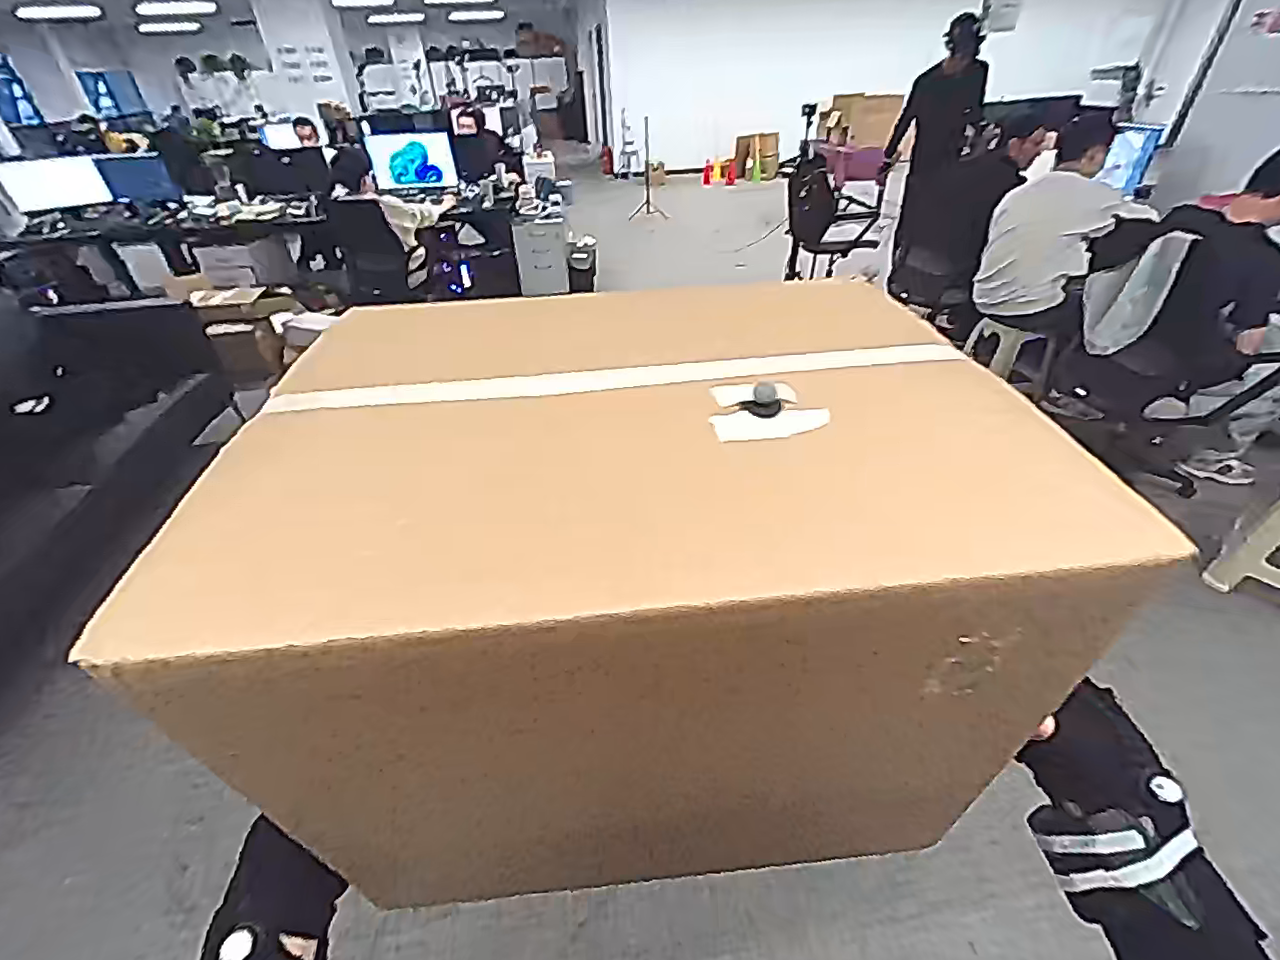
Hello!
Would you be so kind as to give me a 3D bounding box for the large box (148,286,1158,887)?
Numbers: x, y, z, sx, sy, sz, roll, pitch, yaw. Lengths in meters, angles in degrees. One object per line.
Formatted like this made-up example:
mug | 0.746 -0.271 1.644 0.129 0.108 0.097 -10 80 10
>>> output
large box | 0.004 0.064 0.415 0.408 0.320 0.320 -4 40 -3
